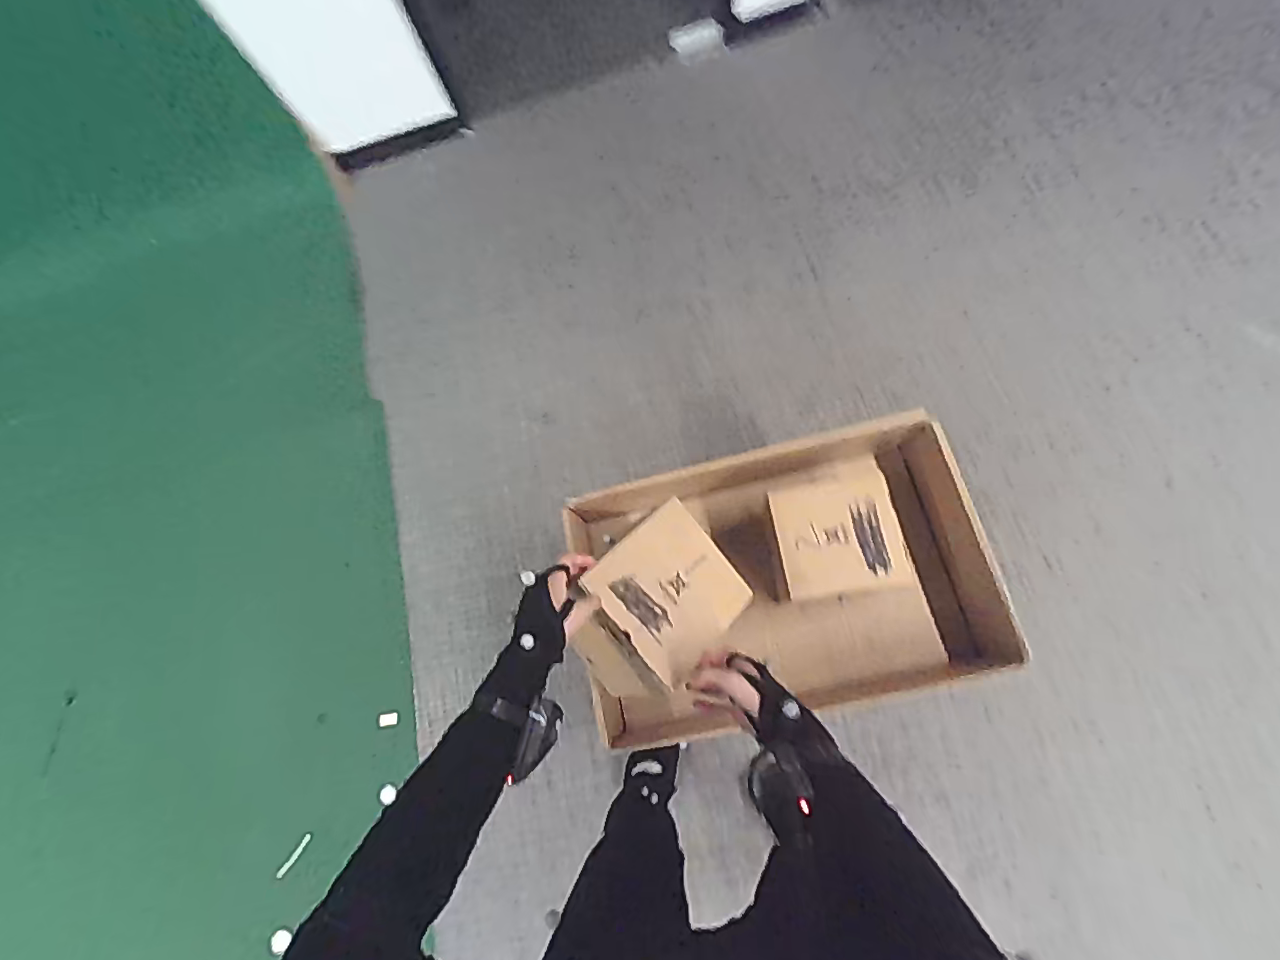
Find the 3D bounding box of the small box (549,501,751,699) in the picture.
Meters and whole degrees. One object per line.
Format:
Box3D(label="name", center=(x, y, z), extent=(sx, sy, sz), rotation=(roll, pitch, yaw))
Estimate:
Box3D(label="small box", center=(0.002, 0.160, 0.699), extent=(0.179, 0.176, 0.168), rotation=(-40, 91, -33))
